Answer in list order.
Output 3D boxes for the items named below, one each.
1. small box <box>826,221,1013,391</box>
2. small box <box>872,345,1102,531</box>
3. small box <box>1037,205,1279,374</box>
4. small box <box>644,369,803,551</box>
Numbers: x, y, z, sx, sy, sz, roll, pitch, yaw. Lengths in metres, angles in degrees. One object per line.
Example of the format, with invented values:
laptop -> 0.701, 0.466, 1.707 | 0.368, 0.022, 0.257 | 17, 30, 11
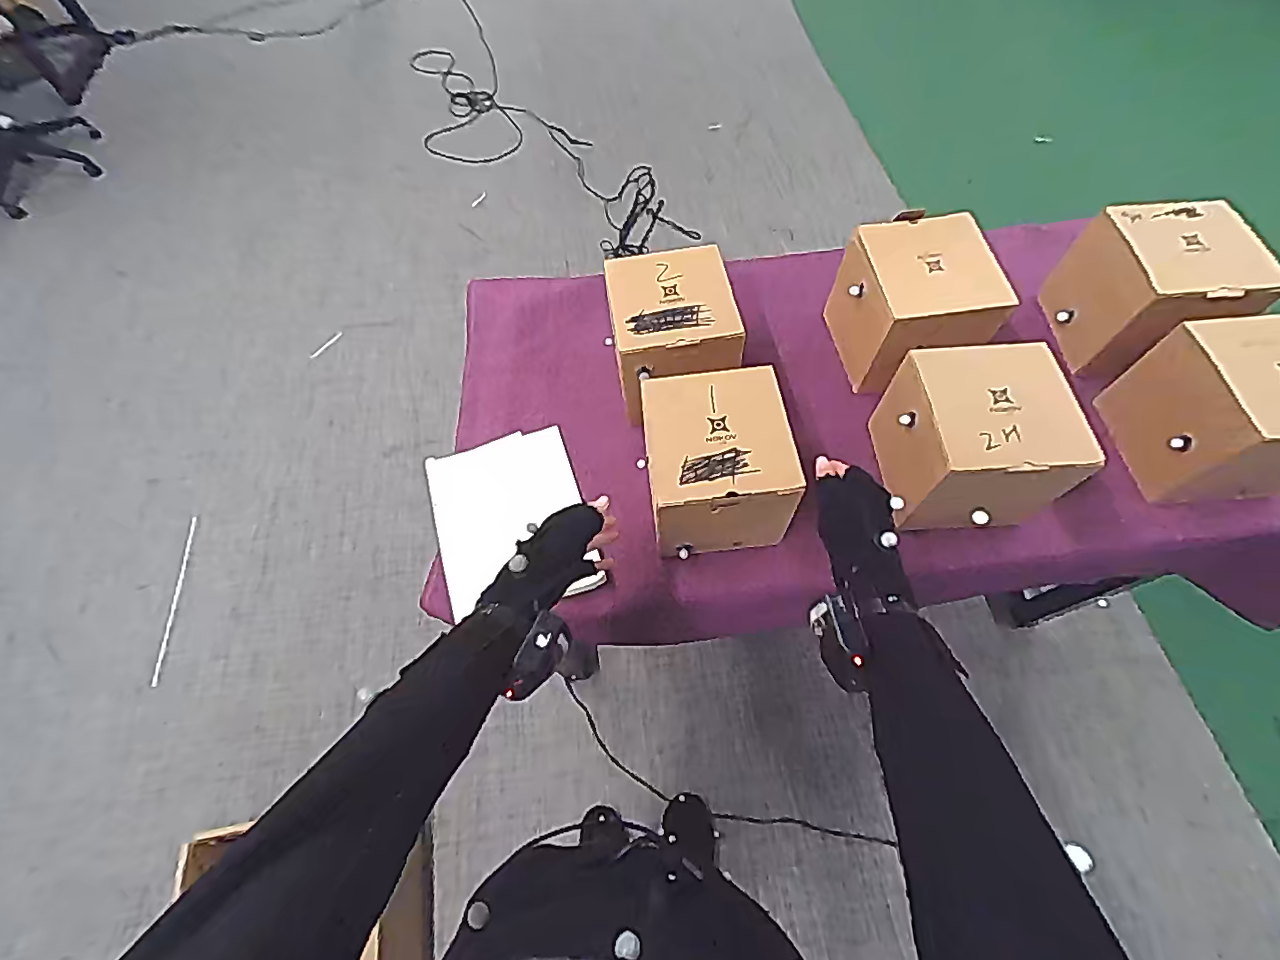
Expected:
small box -> 0.397, -0.247, 0.804 | 0.168, 0.176, 0.179 | -8, 62, -1
small box -> 0.418, -0.048, 0.694 | 0.168, 0.176, 0.179 | -3, 62, 2
small box -> 0.736, -0.270, 0.794 | 0.168, 0.176, 0.179 | -1, 63, 2
small box -> 0.097, -0.016, 0.694 | 0.168, 0.176, 0.179 | -6, 62, 1
